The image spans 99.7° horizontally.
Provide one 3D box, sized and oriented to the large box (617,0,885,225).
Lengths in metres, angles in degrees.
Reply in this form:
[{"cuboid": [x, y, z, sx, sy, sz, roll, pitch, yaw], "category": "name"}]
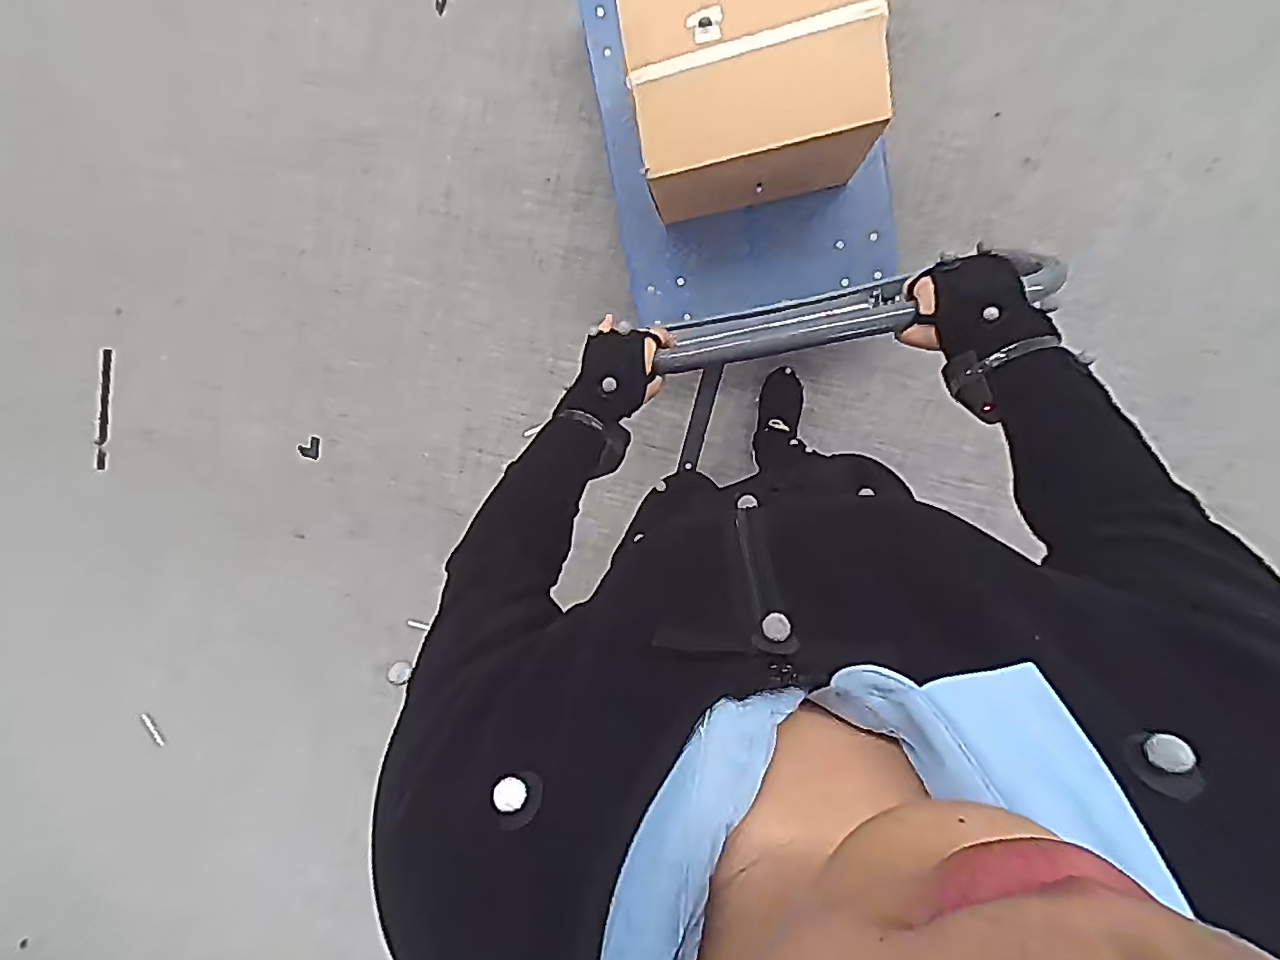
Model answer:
[{"cuboid": [0.205, -0.730, 1.035, 0.408, 0.320, 0.320, -9, 99, 11], "category": "large box"}]
